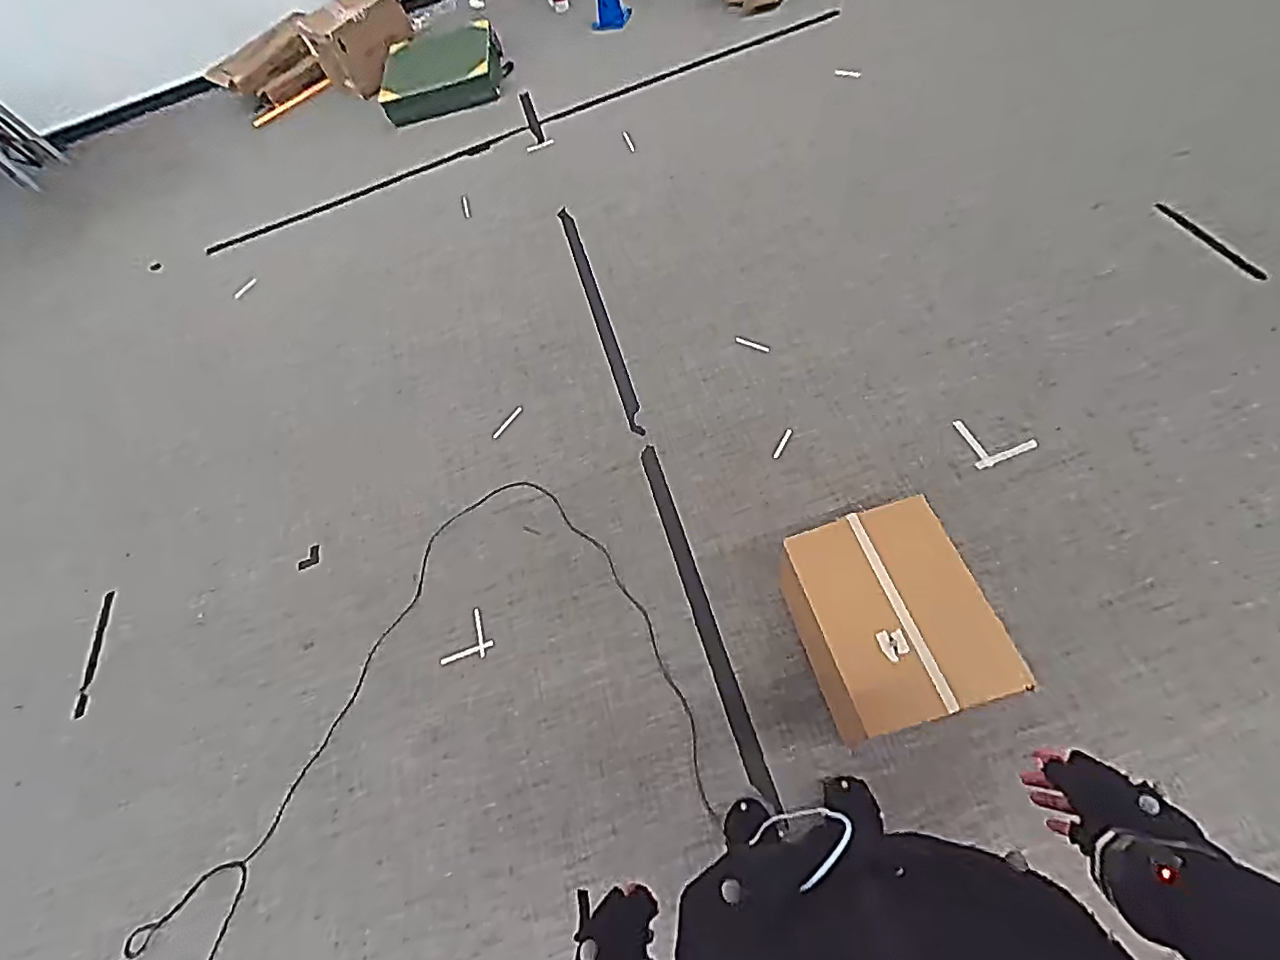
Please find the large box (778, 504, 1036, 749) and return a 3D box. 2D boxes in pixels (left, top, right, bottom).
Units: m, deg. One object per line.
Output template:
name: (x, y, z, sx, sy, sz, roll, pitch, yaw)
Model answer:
large box: (0.530, 0.328, 1.184, 0.320, 0.320, 0.408, -19, 60, 2)
